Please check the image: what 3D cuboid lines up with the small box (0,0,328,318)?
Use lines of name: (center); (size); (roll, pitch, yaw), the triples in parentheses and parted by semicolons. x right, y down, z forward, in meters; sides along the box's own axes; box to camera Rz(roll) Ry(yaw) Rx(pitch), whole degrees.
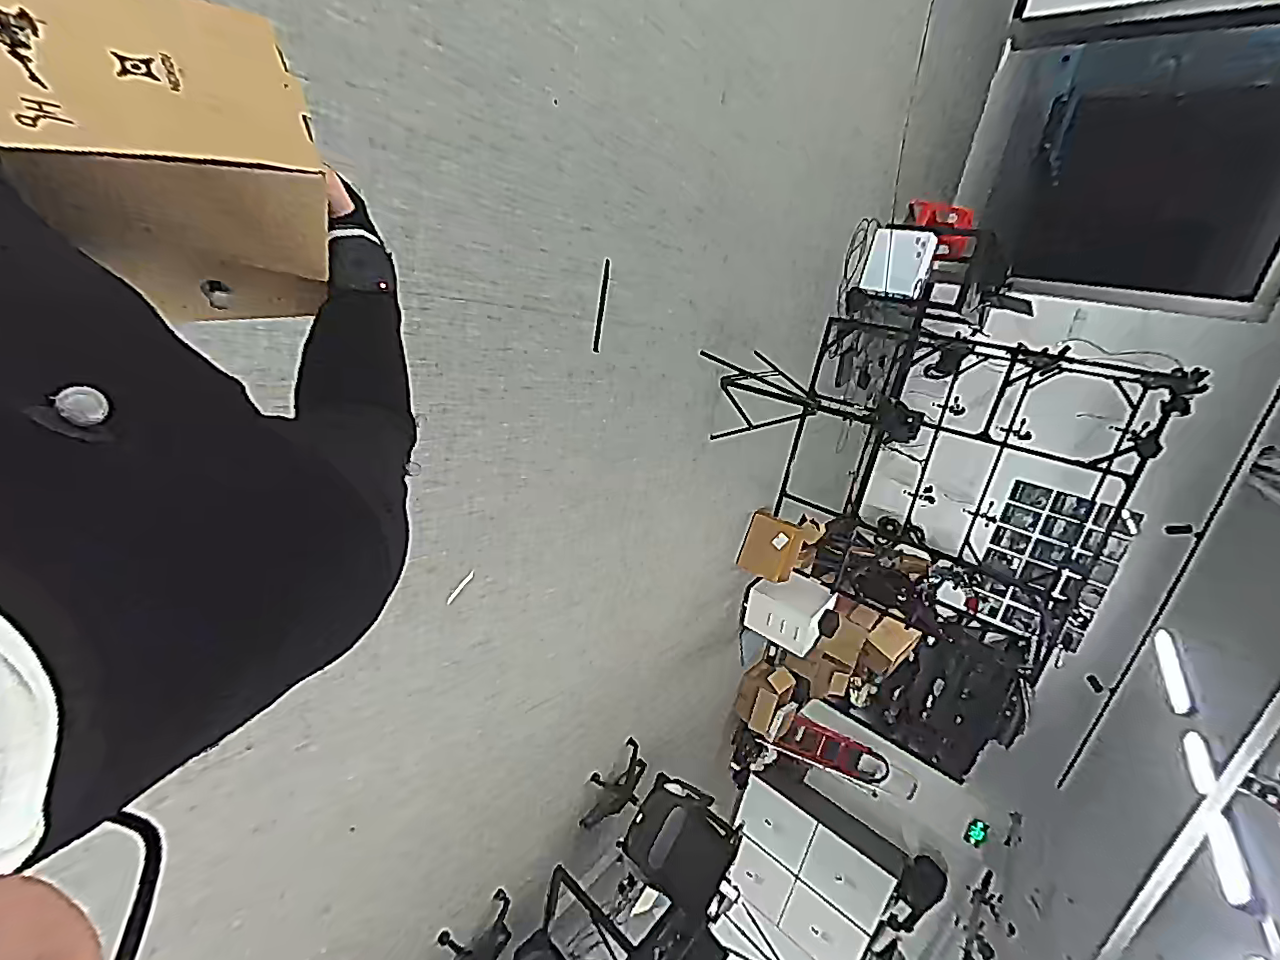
small box: (-0.386, -0.257, 0.459); (0.179, 0.168, 0.176); (-16, 164, -35)
